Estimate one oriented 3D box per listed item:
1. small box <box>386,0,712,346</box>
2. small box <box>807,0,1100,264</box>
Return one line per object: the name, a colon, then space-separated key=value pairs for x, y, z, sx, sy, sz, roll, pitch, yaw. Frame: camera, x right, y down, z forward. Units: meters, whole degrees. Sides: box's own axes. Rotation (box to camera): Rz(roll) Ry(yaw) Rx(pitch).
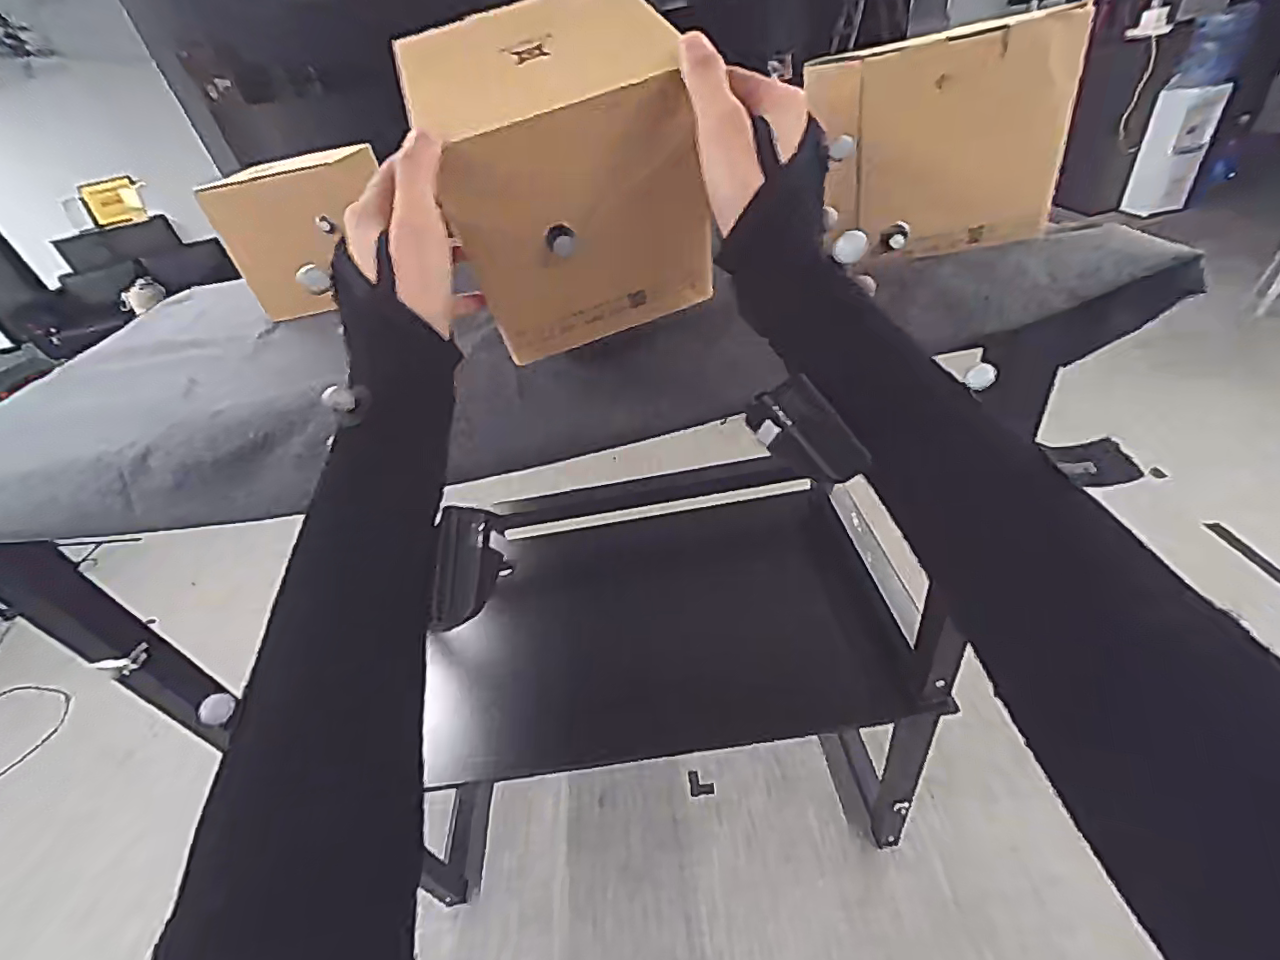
small box: x=-0.054 y=-0.220 z=0.388 sx=0.168 sy=0.176 sz=0.179 roll=-21 pitch=57 yaw=-3
small box: x=0.260 y=-0.311 z=0.499 sx=0.168 sy=0.176 sz=0.179 roll=-9 pitch=35 yaw=5
